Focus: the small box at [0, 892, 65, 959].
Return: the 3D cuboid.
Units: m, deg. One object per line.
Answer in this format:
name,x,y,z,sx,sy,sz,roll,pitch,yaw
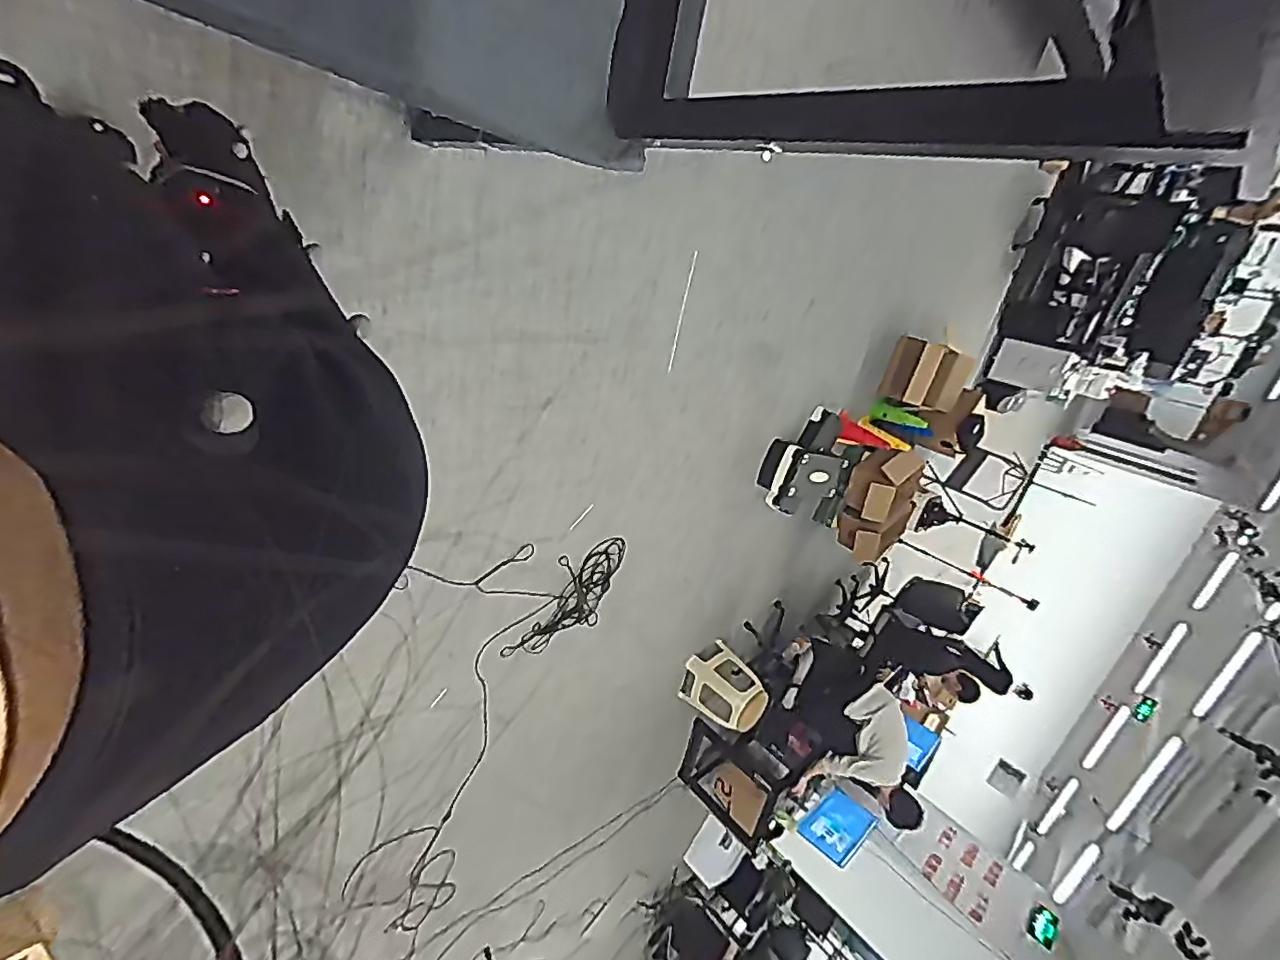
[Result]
small box,-1.542,1.158,1.312,0.168,0.176,0.179,-16,125,-40
